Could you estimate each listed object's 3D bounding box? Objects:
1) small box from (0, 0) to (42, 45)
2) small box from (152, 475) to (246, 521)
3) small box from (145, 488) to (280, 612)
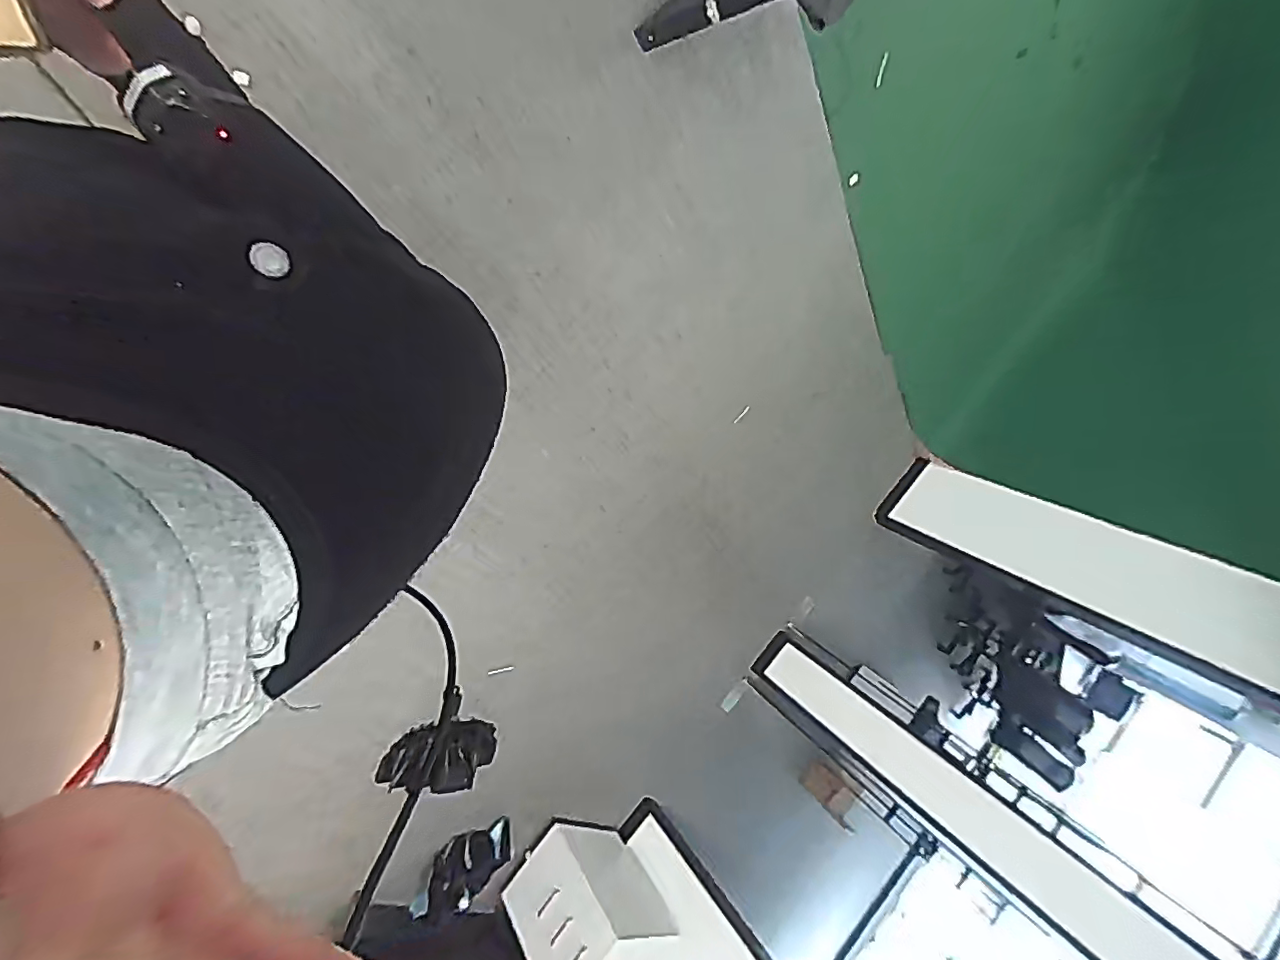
[{"bbox_3d":[-0.472,-0.335,0.277,0.179,0.176,0.168,-23,134,-31],"label":"small box"},{"bbox_3d":[-1.018,0.105,1.274,0.168,0.176,0.179,-12,118,-35],"label":"small box"},{"bbox_3d":[-0.907,0.142,1.156,0.179,0.176,0.168,-25,126,-29],"label":"small box"}]
